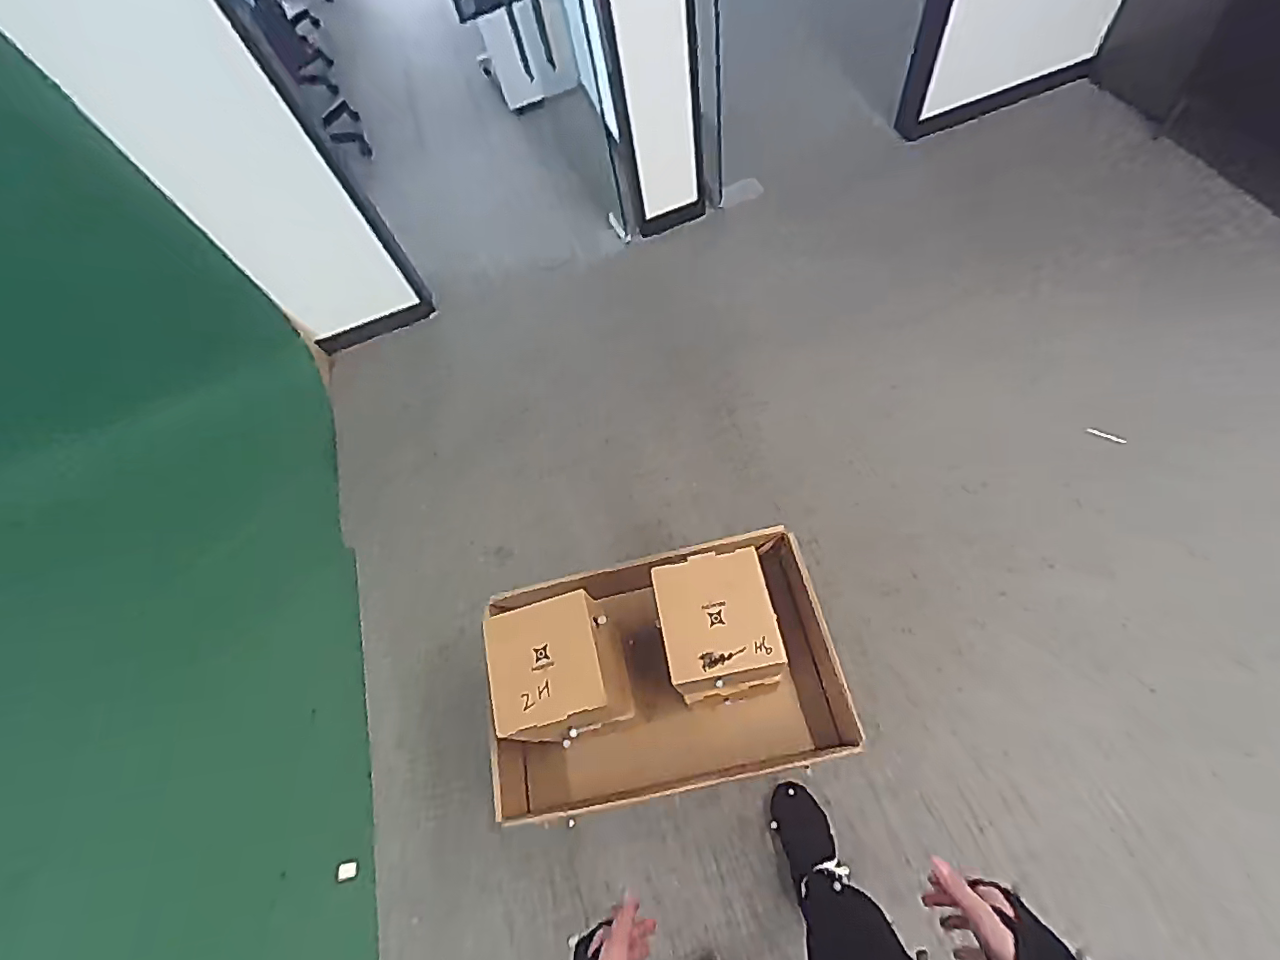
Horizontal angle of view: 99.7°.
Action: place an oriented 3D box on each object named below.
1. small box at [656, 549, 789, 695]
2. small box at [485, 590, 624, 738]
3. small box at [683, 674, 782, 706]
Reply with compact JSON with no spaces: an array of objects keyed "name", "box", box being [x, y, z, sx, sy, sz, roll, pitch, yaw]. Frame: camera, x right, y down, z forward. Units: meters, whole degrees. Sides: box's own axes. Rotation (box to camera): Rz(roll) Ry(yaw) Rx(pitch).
[{"name":"small box","box":[0.124,0.230,0.855,0.168,0.176,0.179,-12,64,3]},{"name":"small box","box":[-0.131,0.298,0.859,0.168,0.176,0.179,-16,63,1]},{"name":"small box","box":[0.149,0.308,0.998,0.168,0.176,0.179,-13,64,2]}]
